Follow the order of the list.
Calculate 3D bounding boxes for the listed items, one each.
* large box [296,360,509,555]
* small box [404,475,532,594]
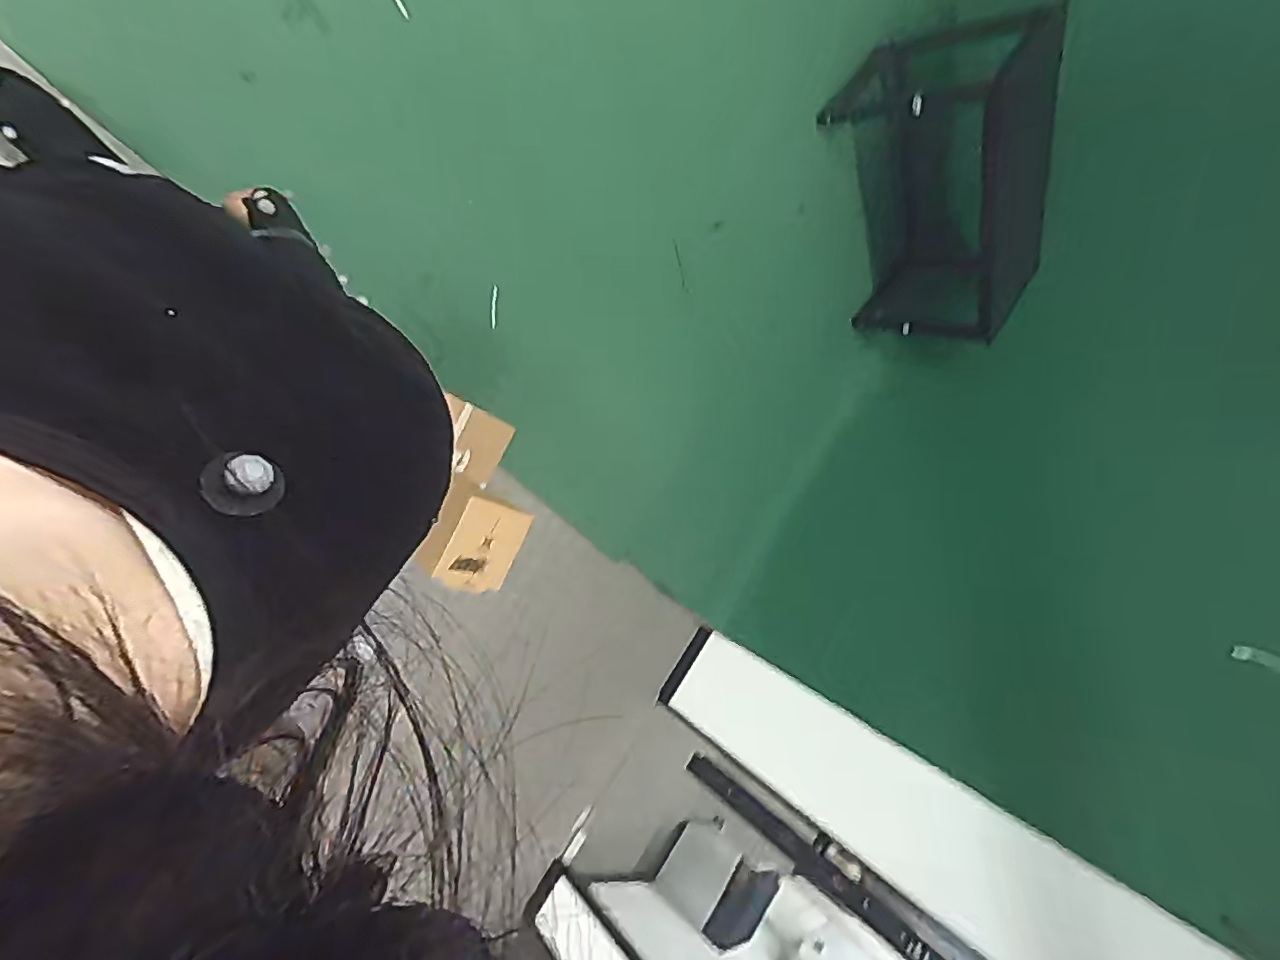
[{"bbox_3d":[-0.620,-0.048,1.412,0.320,0.320,0.408,29,84,-49],"label":"large box"},{"bbox_3d":[-0.365,0.111,1.130,0.168,0.176,0.179,28,86,-48],"label":"small box"}]
